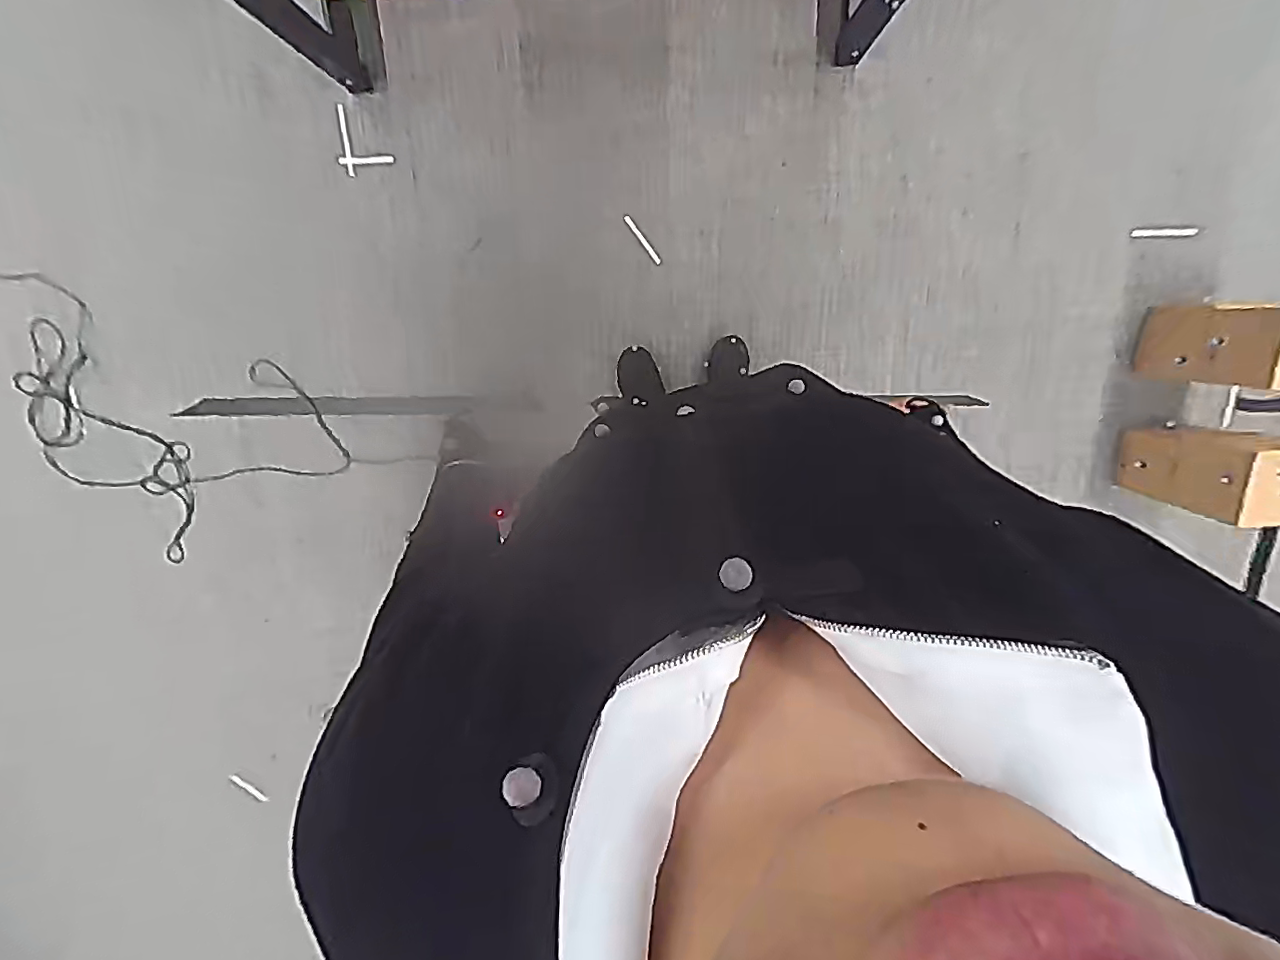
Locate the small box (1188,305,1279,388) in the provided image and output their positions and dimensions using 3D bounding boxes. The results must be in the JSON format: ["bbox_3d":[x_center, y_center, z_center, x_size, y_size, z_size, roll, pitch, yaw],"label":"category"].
[{"bbox_3d":[1.356,-0.288,1.157,0.179,0.176,0.168,-1,105,3],"label":"small box"}]

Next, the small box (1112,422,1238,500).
[{"bbox_3d":[1.377,-0.053,1.395,0.179,0.176,0.168,-3,106,3],"label":"small box"}]

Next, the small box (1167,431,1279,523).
[{"bbox_3d":[1.368,-0.014,1.234,0.168,0.176,0.179,-3,106,3],"label":"small box"}]

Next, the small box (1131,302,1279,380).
[{"bbox_3d":[1.355,-0.339,1.312,0.168,0.176,0.179,0,105,1],"label":"small box"}]
